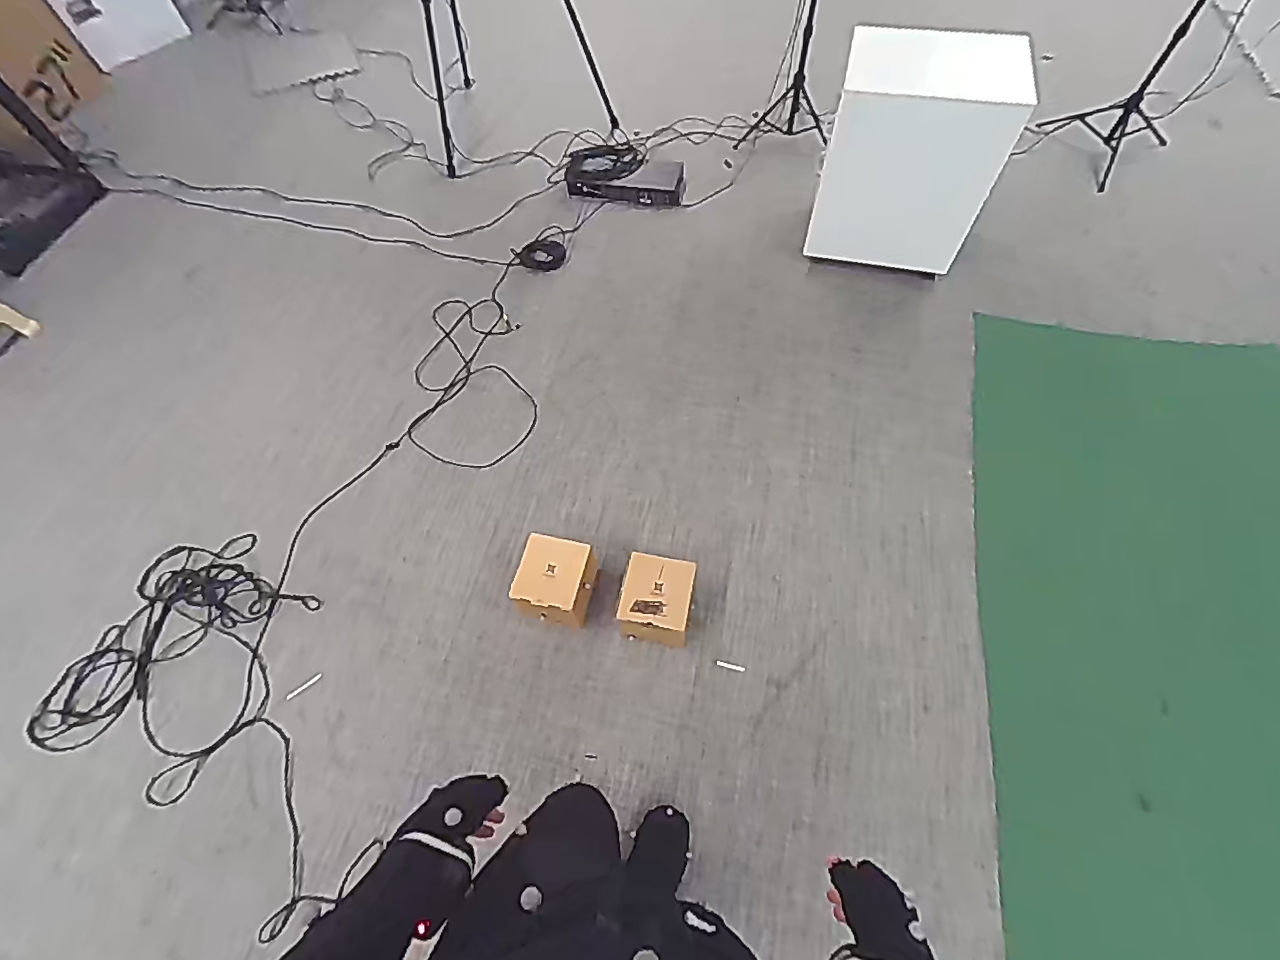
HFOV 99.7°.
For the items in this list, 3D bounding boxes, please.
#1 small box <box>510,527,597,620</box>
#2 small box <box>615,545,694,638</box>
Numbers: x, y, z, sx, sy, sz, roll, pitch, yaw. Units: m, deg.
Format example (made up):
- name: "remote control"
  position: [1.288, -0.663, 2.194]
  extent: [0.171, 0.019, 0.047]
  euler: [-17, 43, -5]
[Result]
- name: "small box"
  position: [-0.217, 0.248, 1.419]
  extent: [0.168, 0.176, 0.179]
  euler: [10, 62, 9]
- name: "small box"
  position: [0.043, 0.289, 1.378]
  extent: [0.168, 0.176, 0.179]
  euler: [10, 61, 9]
